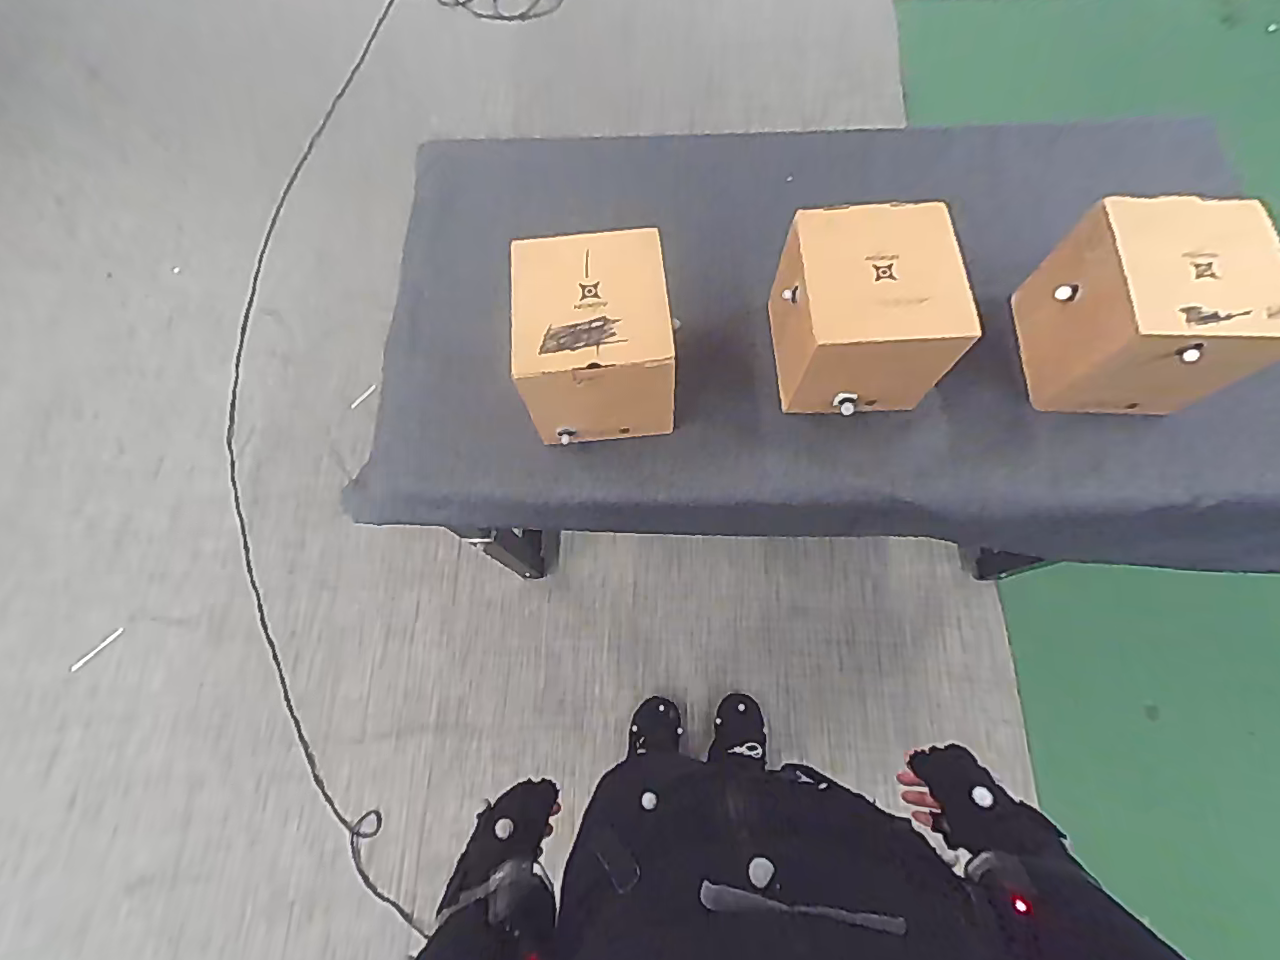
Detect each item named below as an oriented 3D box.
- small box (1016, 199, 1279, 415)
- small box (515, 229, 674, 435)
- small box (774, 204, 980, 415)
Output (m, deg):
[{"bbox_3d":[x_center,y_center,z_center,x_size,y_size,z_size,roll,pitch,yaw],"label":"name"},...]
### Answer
[{"bbox_3d":[0.577,-0.194,0.630,0.168,0.176,0.179,2,70,4],"label":"small box"},{"bbox_3d":[-0.047,-0.163,0.645,0.168,0.176,0.179,-5,69,0],"label":"small box"},{"bbox_3d":[0.262,-0.194,0.647,0.168,0.176,0.179,-3,72,3],"label":"small box"}]
